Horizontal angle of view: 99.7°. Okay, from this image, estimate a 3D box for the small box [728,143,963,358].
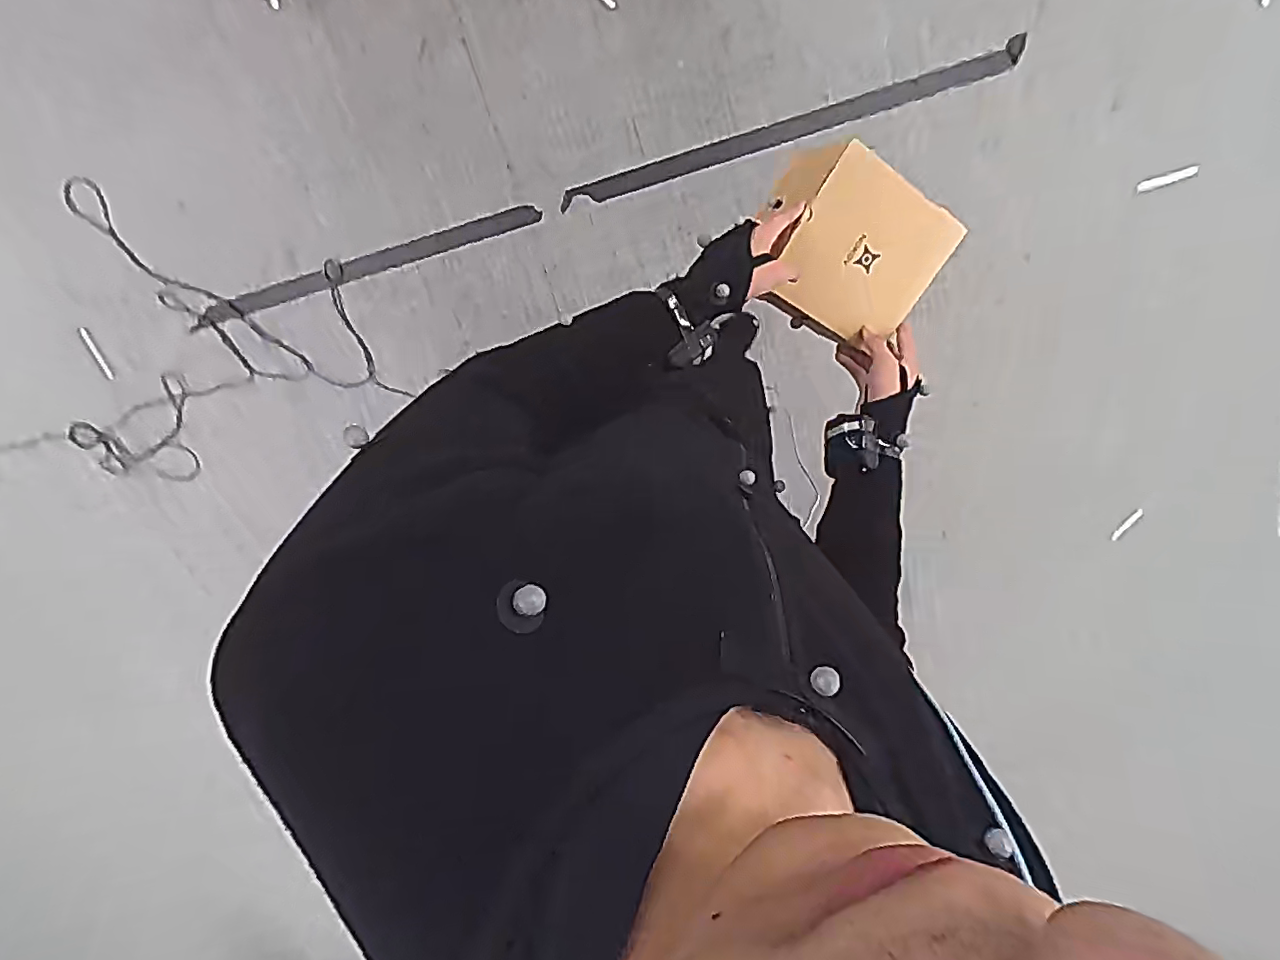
[{"bbox_3d":[0.236,-0.278,0.667,0.179,0.176,0.168,25,110,-16],"label":"small box"}]
